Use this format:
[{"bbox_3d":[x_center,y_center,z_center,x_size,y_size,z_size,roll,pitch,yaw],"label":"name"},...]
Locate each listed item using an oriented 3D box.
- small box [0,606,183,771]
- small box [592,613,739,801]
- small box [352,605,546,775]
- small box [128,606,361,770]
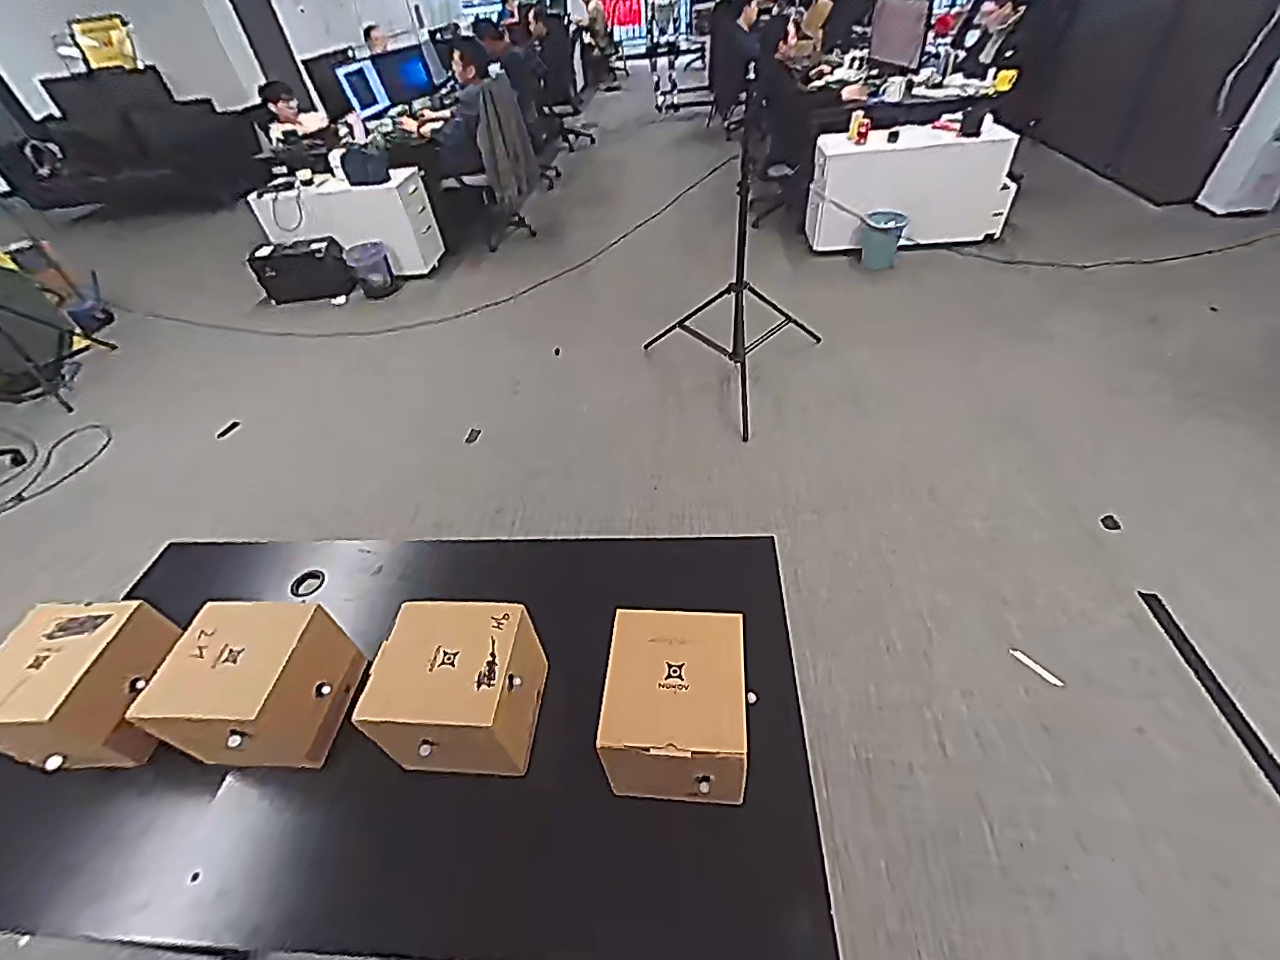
[{"bbox_3d":[-0.803,0.305,0.794,0.168,0.176,0.179,-3,45,4],"label":"small box"},{"bbox_3d":[0.042,0.296,0.703,0.168,0.176,0.179,0,43,7],"label":"small box"},{"bbox_3d":[-0.244,0.289,0.744,0.179,0.176,0.168,-1,44,7],"label":"small box"},{"bbox_3d":[-0.537,0.297,0.770,0.179,0.176,0.168,-2,44,5],"label":"small box"}]
